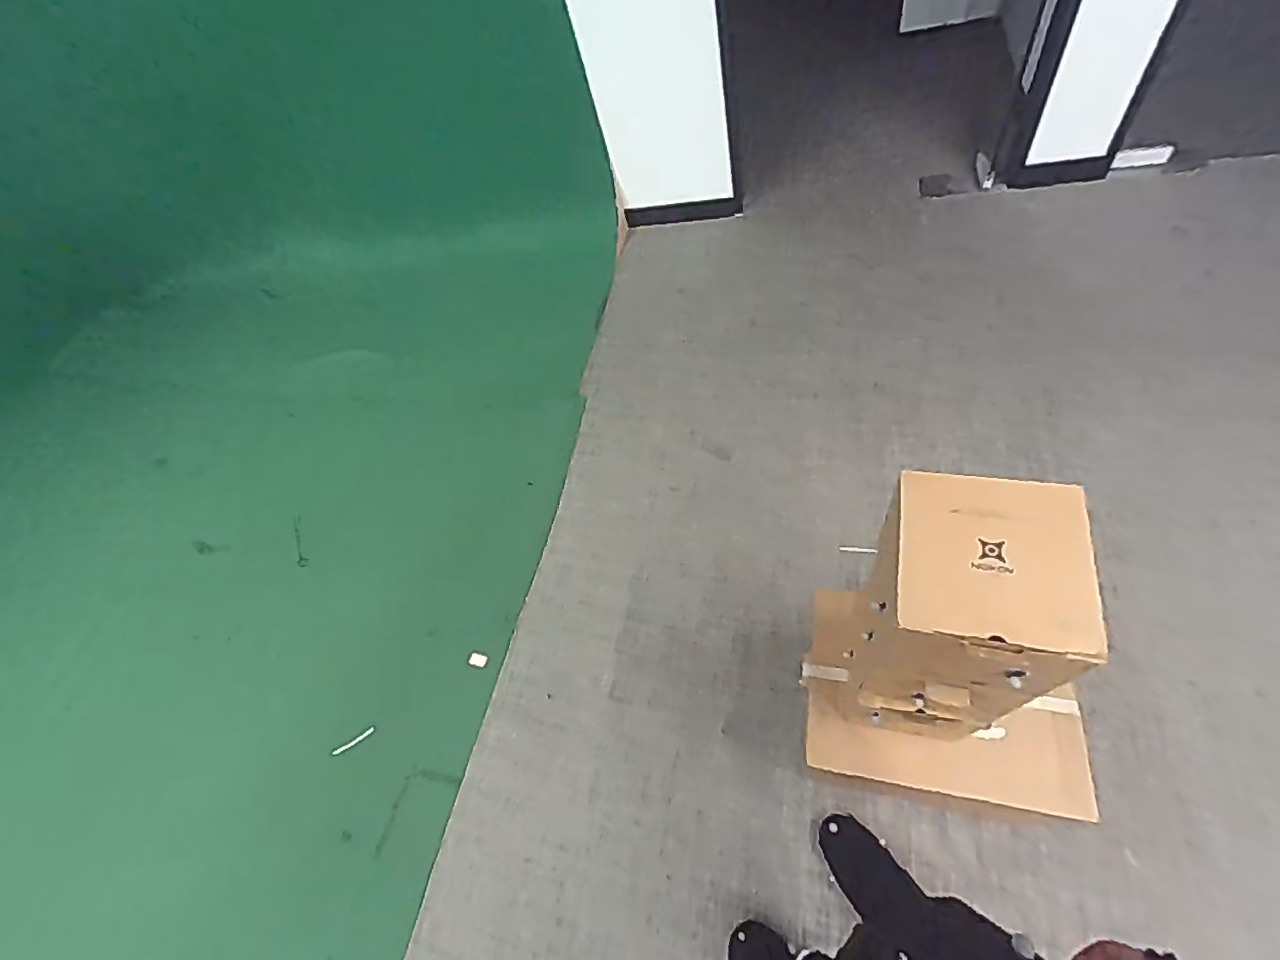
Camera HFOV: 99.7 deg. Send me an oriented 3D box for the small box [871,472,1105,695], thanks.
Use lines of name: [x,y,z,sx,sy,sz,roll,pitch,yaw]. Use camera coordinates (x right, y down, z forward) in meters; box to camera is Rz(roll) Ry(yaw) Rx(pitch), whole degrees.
small box: [0.348,0.114,0.577,0.168,0.176,0.179,6,60,18]

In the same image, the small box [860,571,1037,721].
small box: [0.391,0.196,0.711,0.168,0.176,0.179,8,61,19]

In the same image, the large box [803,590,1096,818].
large box: [0.523,0.424,1.024,0.408,0.320,0.320,3,61,16]
